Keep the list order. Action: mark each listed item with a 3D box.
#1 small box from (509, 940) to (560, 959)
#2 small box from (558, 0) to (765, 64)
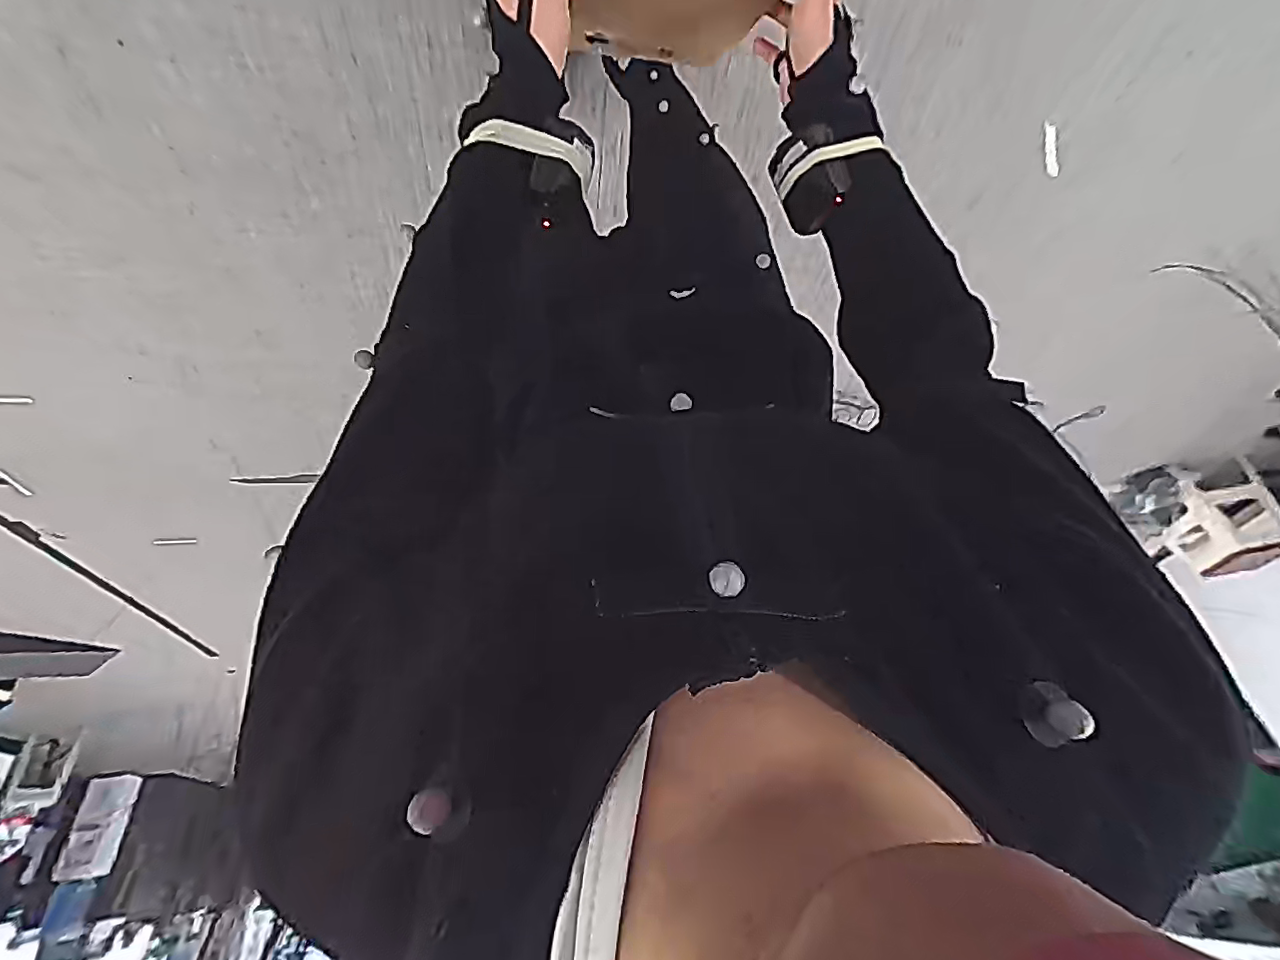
[{"bbox_3d":[-0.354,1.681,1.824,0.168,0.176,0.179,0,146,-14],"label":"small box"},{"bbox_3d":[0.023,-0.470,0.428,0.168,0.176,0.179,-5,106,-15],"label":"small box"}]
